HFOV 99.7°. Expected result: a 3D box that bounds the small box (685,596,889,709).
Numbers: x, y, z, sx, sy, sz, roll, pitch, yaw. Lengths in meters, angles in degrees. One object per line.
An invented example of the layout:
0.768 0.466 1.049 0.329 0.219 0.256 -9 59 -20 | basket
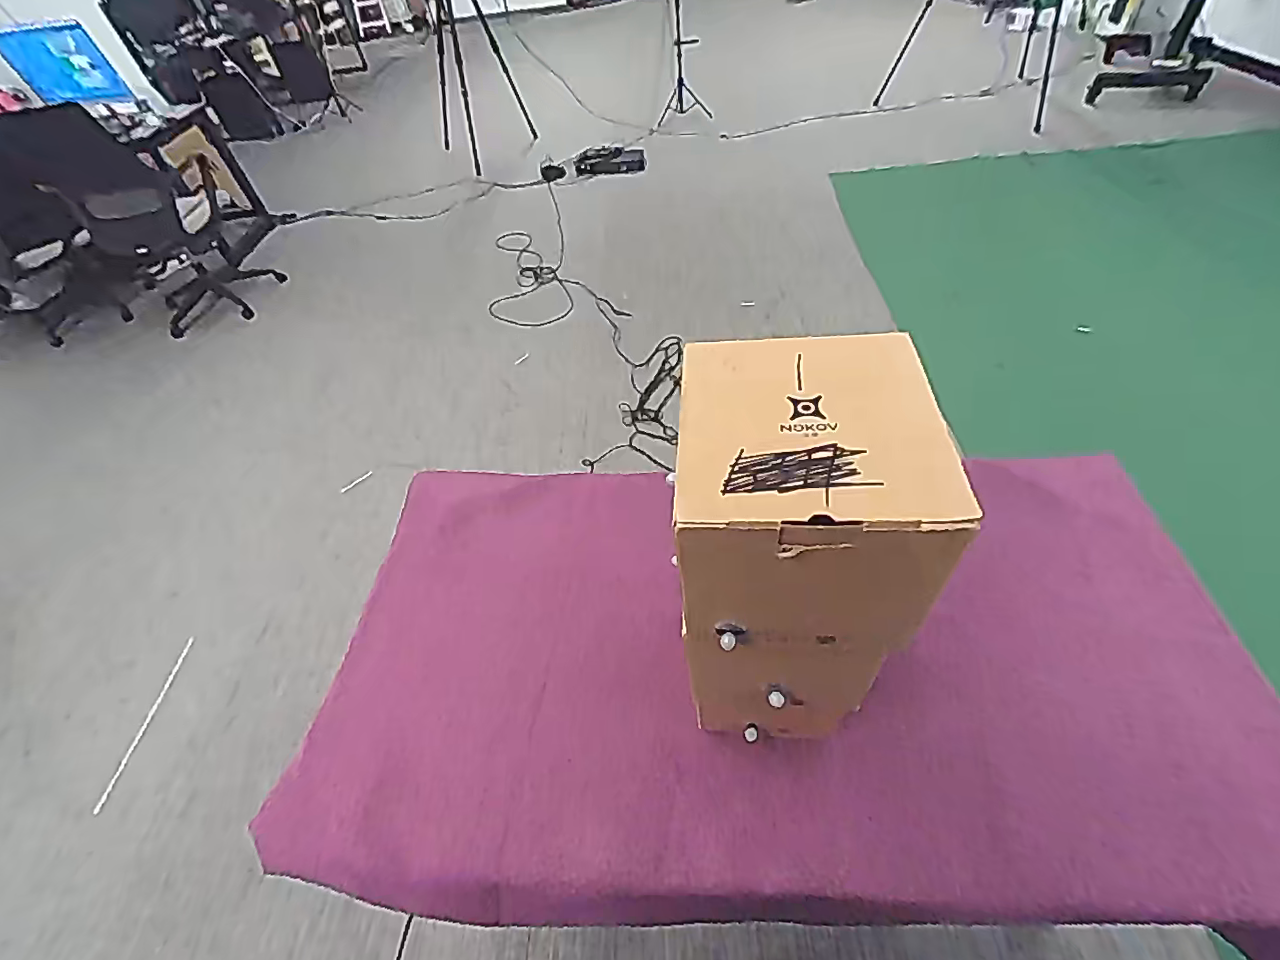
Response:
0.134 0.111 0.548 0.168 0.176 0.179 -1 50 9 | small box

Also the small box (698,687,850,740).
0.159 0.205 0.681 0.168 0.176 0.179 0 50 10 | small box

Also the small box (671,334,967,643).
0.118 0.011 0.418 0.168 0.176 0.179 0 49 9 | small box
